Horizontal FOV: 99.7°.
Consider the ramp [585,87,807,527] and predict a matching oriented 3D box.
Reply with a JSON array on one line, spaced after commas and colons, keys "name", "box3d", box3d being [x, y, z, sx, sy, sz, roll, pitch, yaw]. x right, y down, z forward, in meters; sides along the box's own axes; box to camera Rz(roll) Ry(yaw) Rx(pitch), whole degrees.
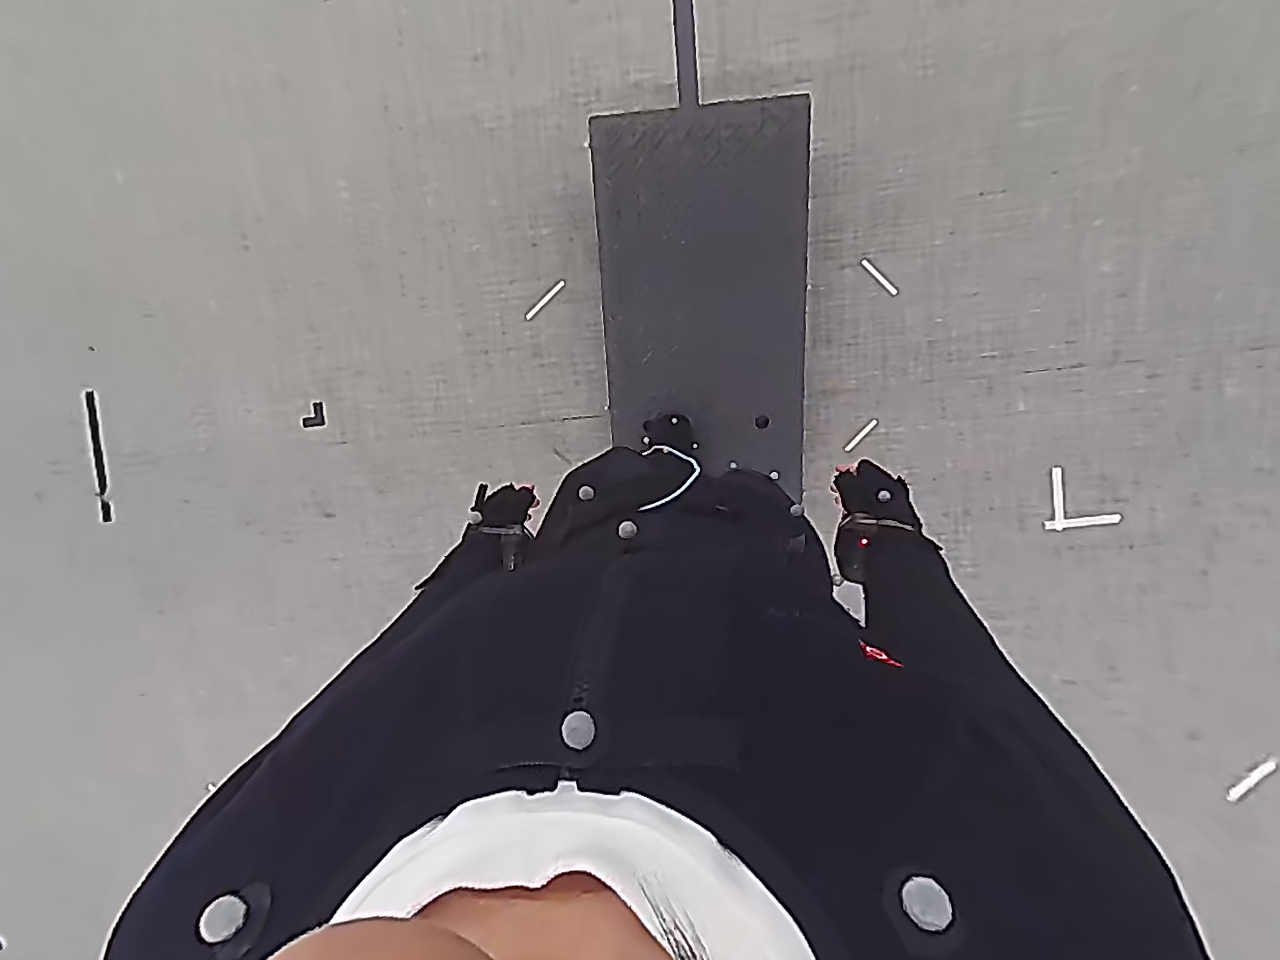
[{"name": "ramp", "box3d": [0.152, -0.357, 1.326, 0.509, 0.206, 0.991, -4, 96, 6]}]
